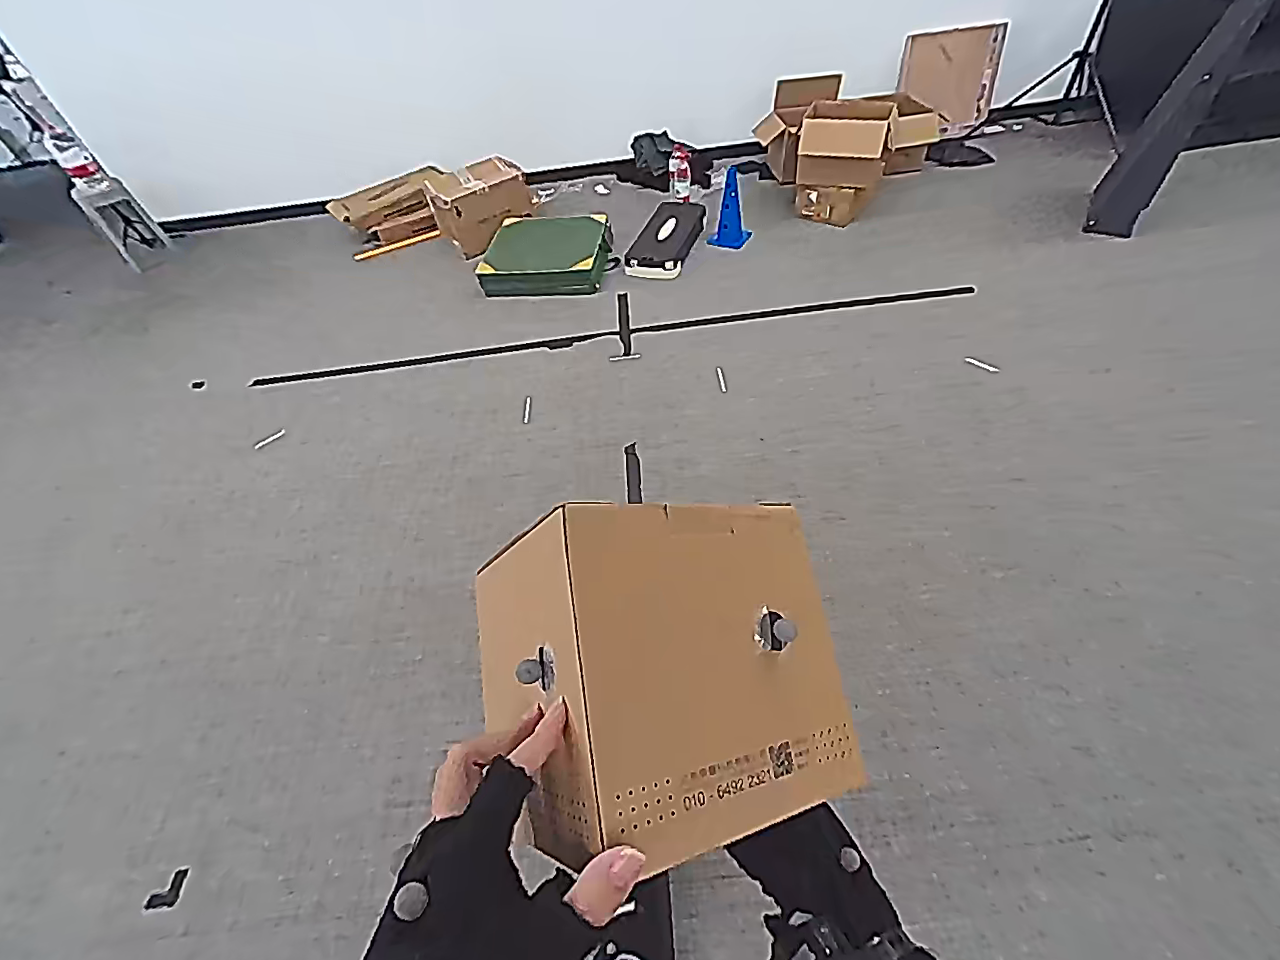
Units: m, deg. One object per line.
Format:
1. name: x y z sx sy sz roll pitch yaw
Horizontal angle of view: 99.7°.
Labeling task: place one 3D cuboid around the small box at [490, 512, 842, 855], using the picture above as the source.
1. small box: 0.005 0.127 0.369 0.168 0.179 0.176 2 68 -30
